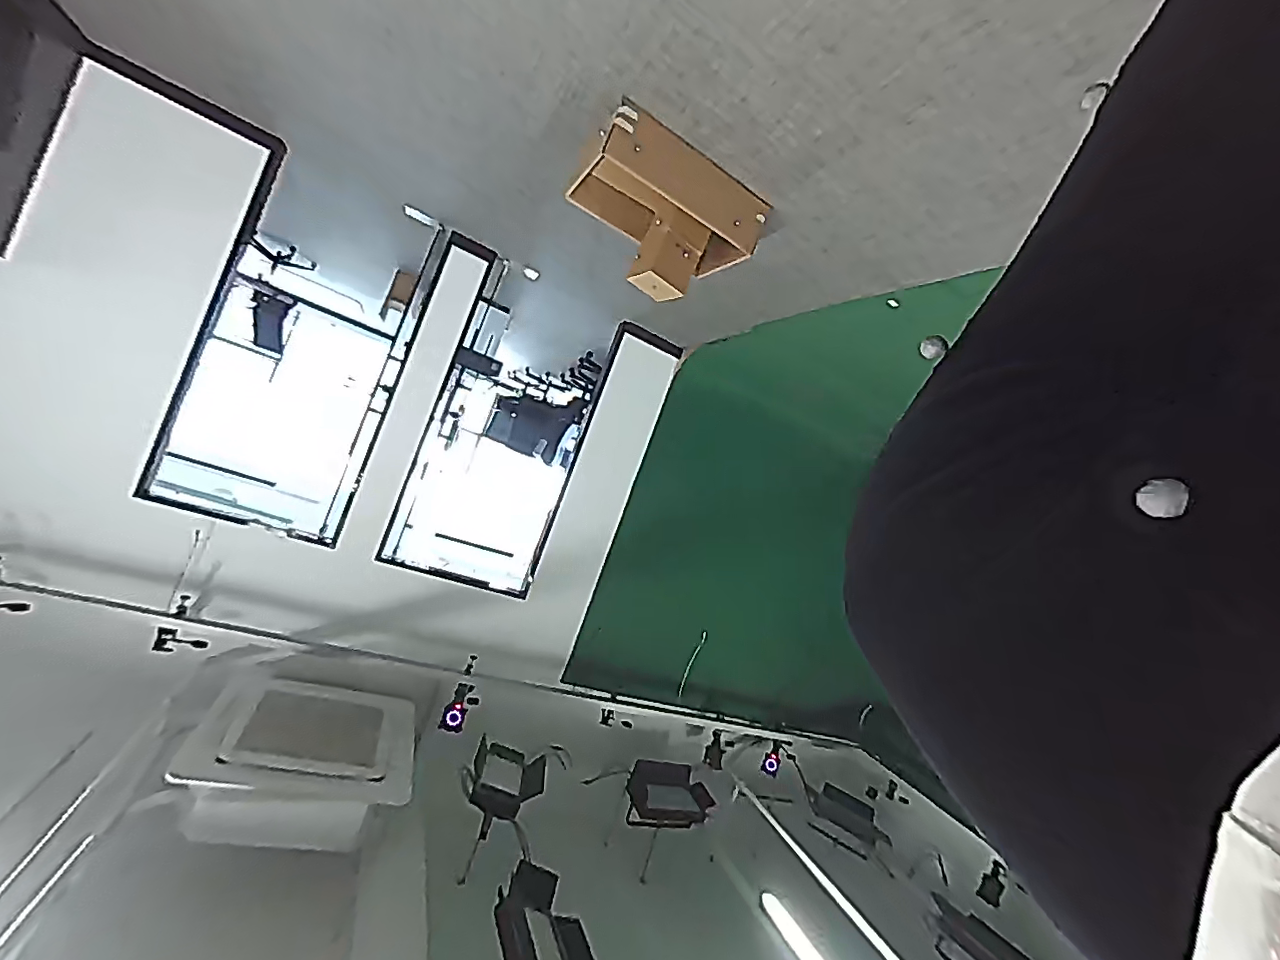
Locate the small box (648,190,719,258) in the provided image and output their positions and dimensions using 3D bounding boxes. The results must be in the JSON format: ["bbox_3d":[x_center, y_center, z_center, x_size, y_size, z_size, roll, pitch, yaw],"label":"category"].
[{"bbox_3d":[0.163,-0.924,1.990,0.168,0.176,0.179,26,174,-29],"label":"small box"}]

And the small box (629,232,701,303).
[{"bbox_3d":[0.096,-0.776,1.983,0.168,0.176,0.179,26,175,-33],"label":"small box"}]
